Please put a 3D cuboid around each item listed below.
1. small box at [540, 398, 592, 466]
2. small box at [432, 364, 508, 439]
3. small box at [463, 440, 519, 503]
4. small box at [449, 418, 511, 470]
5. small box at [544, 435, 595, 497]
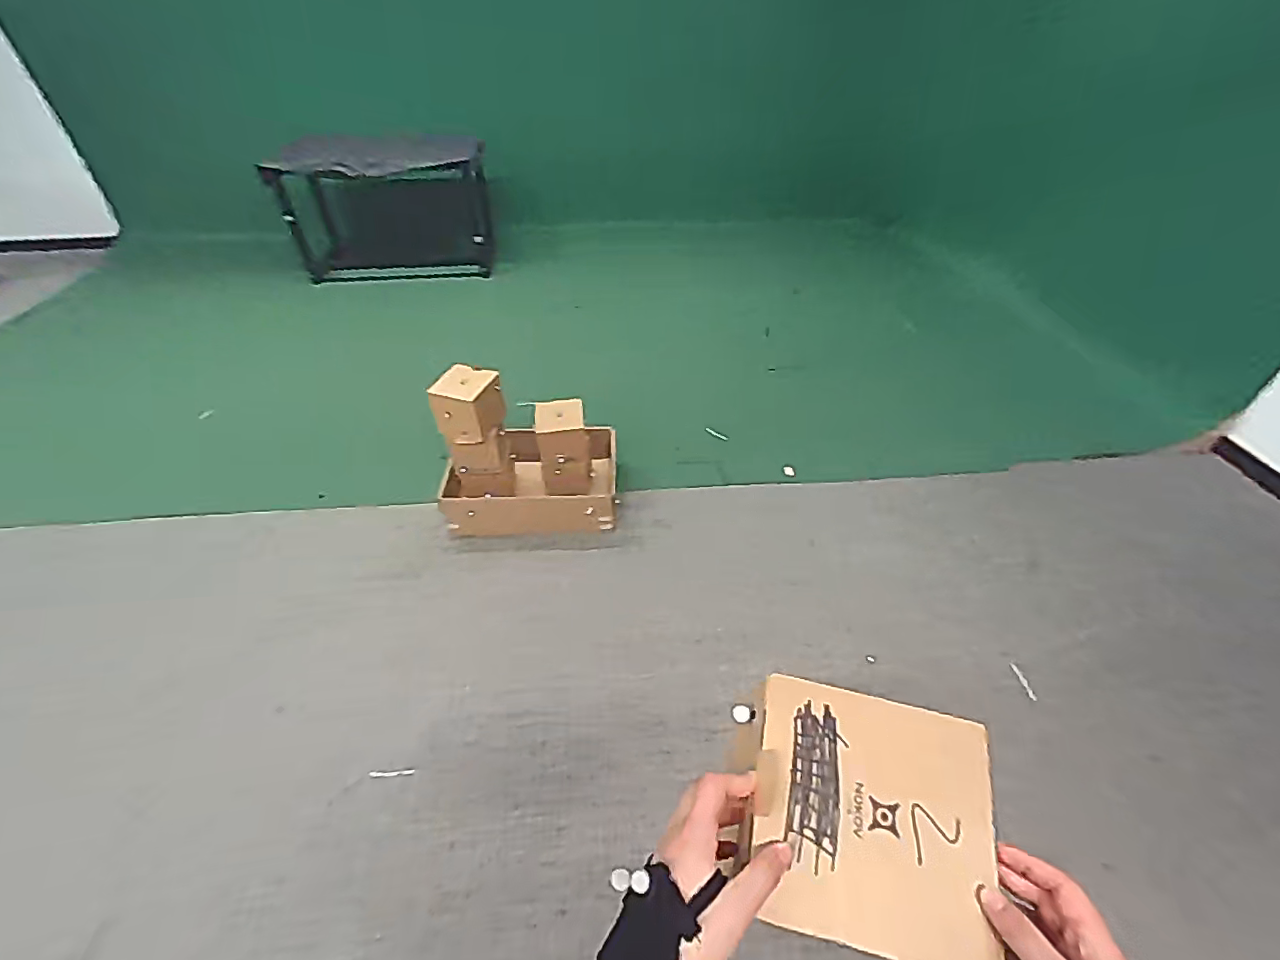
[{"bbox_3d":[-0.267,-0.172,1.950,0.168,0.176,0.179,-7,46,-4],"label":"small box"},{"bbox_3d":[-0.556,-0.260,1.802,0.168,0.176,0.179,14,44,13],"label":"small box"},{"bbox_3d":[-0.555,-0.033,2.038,0.168,0.176,0.179,-3,43,-3],"label":"small box"},{"bbox_3d":[-0.560,-0.146,1.918,0.168,0.176,0.179,-1,42,-3],"label":"small box"},{"bbox_3d":[-0.264,-0.055,2.063,0.168,0.176,0.179,0,43,2],"label":"small box"}]
